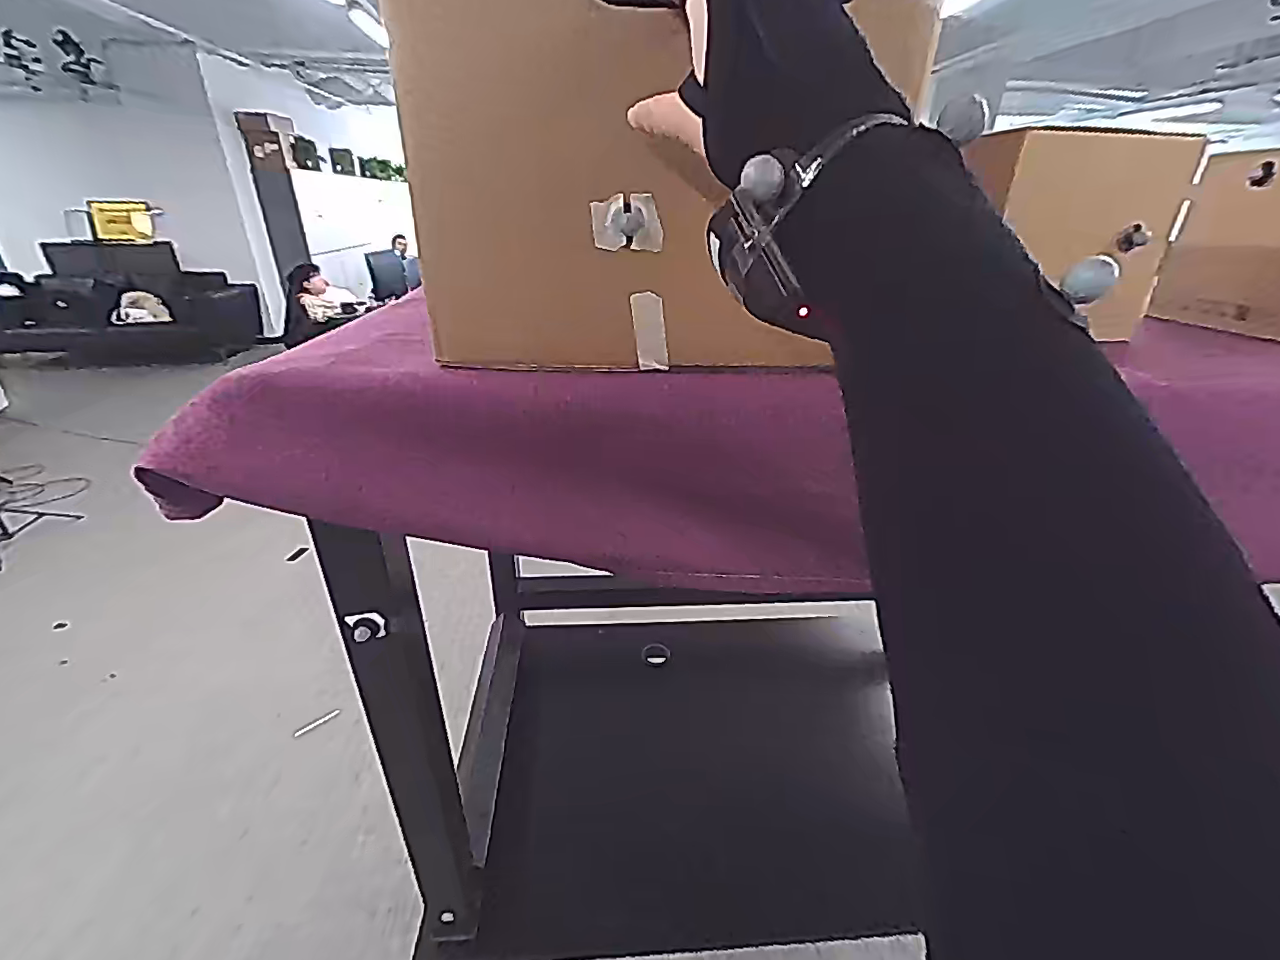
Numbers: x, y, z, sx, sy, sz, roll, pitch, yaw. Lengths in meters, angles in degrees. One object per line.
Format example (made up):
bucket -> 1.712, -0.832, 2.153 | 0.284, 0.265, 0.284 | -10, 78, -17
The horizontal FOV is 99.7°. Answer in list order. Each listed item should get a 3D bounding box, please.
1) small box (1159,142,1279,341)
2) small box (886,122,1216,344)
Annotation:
small box -> 0.685, -0.232, 0.529 | 0.179, 0.176, 0.168 | -1, 26, -4
small box -> 0.362, -0.233, 0.523 | 0.179, 0.176, 0.168 | -4, 26, -9
